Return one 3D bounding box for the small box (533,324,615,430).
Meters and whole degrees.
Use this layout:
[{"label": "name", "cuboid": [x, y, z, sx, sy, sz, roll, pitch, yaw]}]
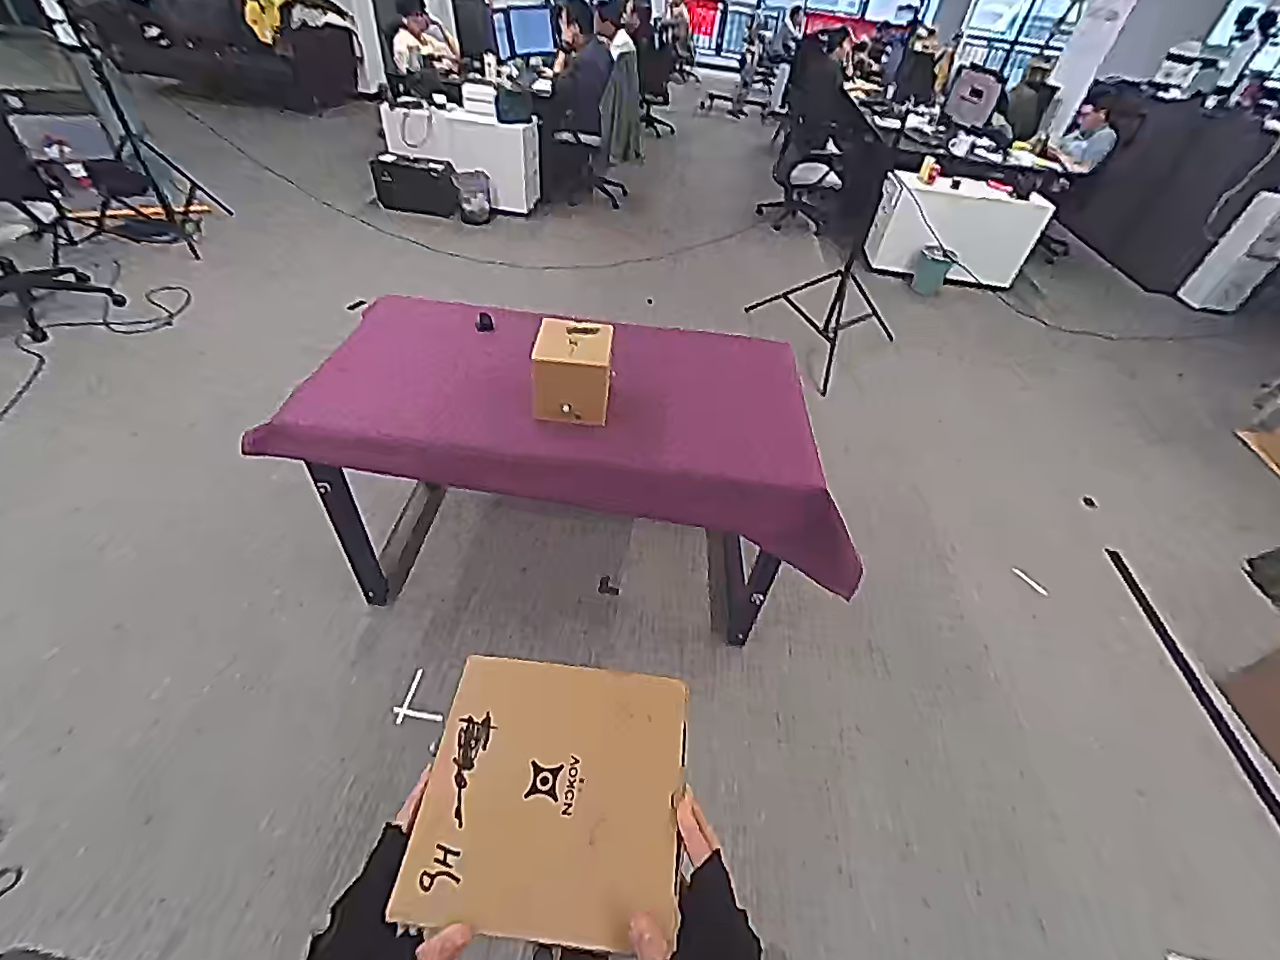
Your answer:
[{"label": "small box", "cuboid": [-0.151, -0.240, 1.260, 0.168, 0.176, 0.179, 5, 44, -2]}]
